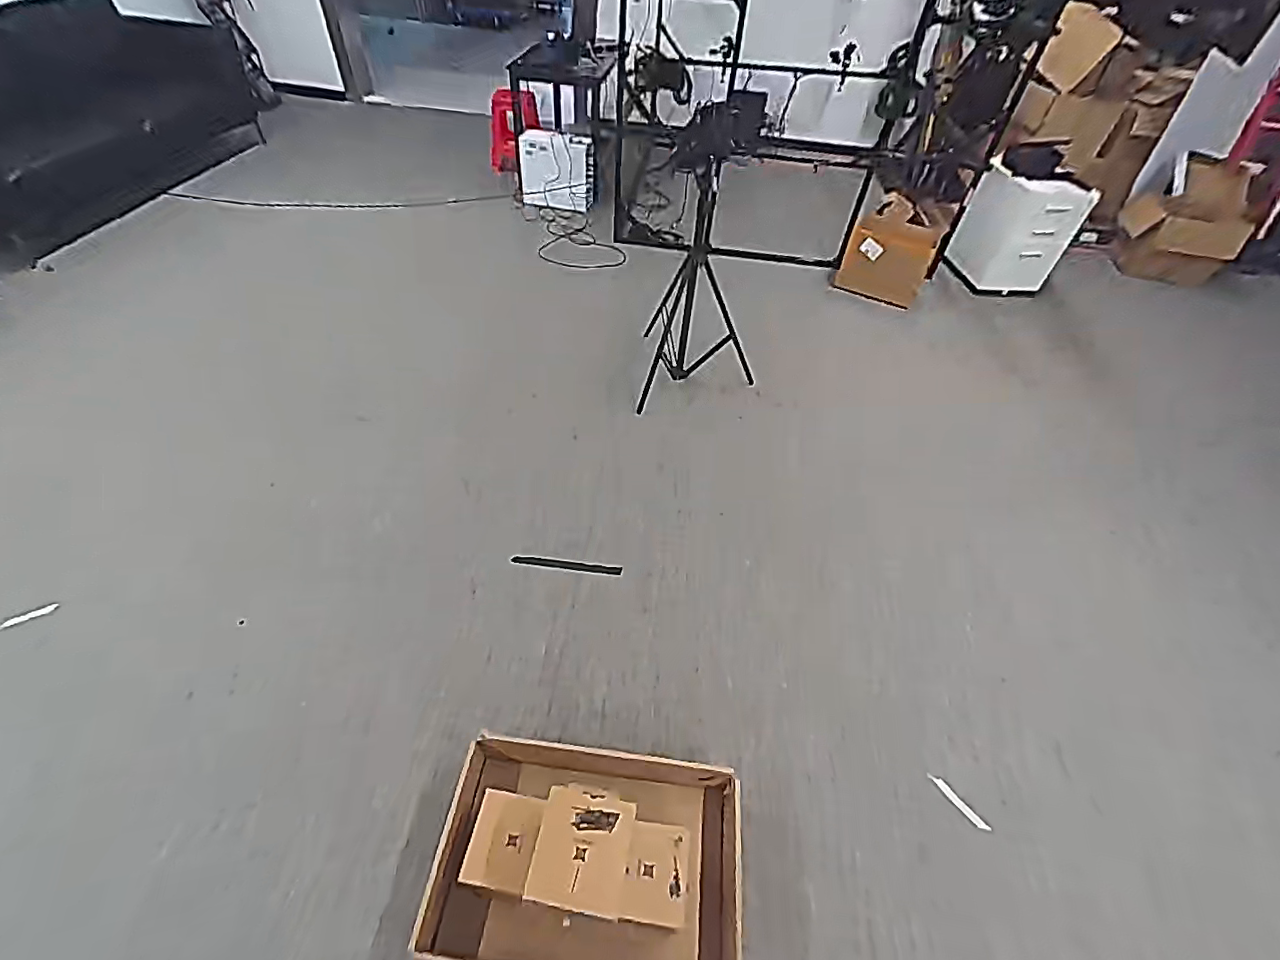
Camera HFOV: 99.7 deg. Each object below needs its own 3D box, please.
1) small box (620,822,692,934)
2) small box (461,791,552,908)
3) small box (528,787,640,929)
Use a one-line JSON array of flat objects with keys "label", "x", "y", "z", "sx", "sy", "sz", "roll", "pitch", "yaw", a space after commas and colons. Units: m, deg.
[{"label": "small box", "x": 0.011, "y": 0.830, "z": 1.129, "sx": 0.179, "sy": 0.176, "sz": 0.168, "roll": 5, "pitch": 48, "yaw": 4}, {"label": "small box", "x": -0.252, "y": 0.786, "z": 1.145, "sx": 0.179, "sy": 0.176, "sz": 0.168, "roll": 9, "pitch": 47, "yaw": 4}, {"label": "small box", "x": -0.099, "y": 0.706, "z": 1.009, "sx": 0.168, "sy": 0.176, "sz": 0.179, "roll": 10, "pitch": 48, "yaw": 5}]
